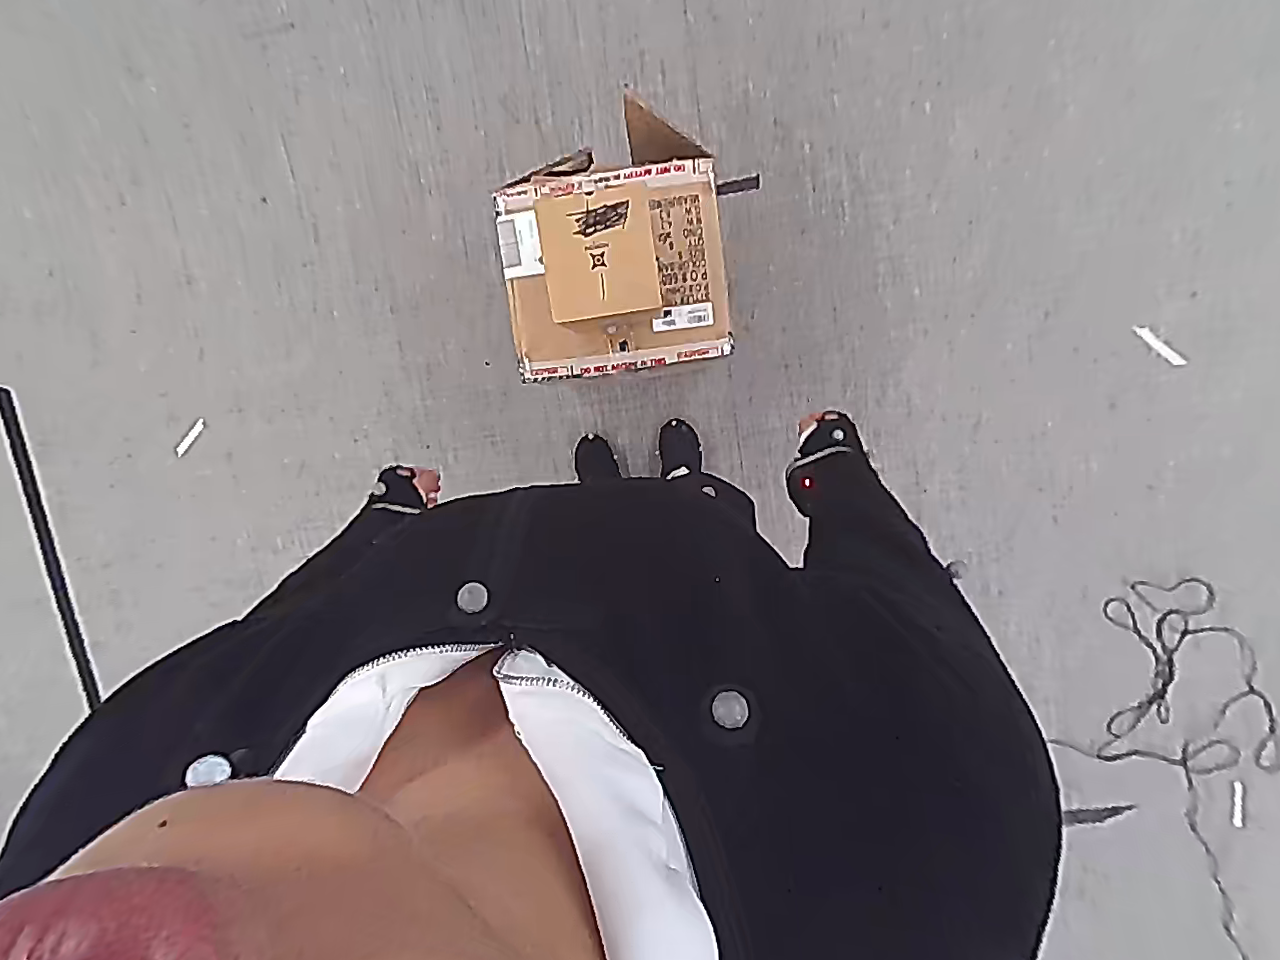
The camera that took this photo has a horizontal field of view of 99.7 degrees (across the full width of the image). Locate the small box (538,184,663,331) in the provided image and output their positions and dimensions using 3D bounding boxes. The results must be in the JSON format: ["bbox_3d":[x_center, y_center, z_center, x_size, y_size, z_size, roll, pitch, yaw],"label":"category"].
[{"bbox_3d":[-0.055,-0.343,0.864,0.168,0.176,0.179,-7,102,4],"label":"small box"}]
